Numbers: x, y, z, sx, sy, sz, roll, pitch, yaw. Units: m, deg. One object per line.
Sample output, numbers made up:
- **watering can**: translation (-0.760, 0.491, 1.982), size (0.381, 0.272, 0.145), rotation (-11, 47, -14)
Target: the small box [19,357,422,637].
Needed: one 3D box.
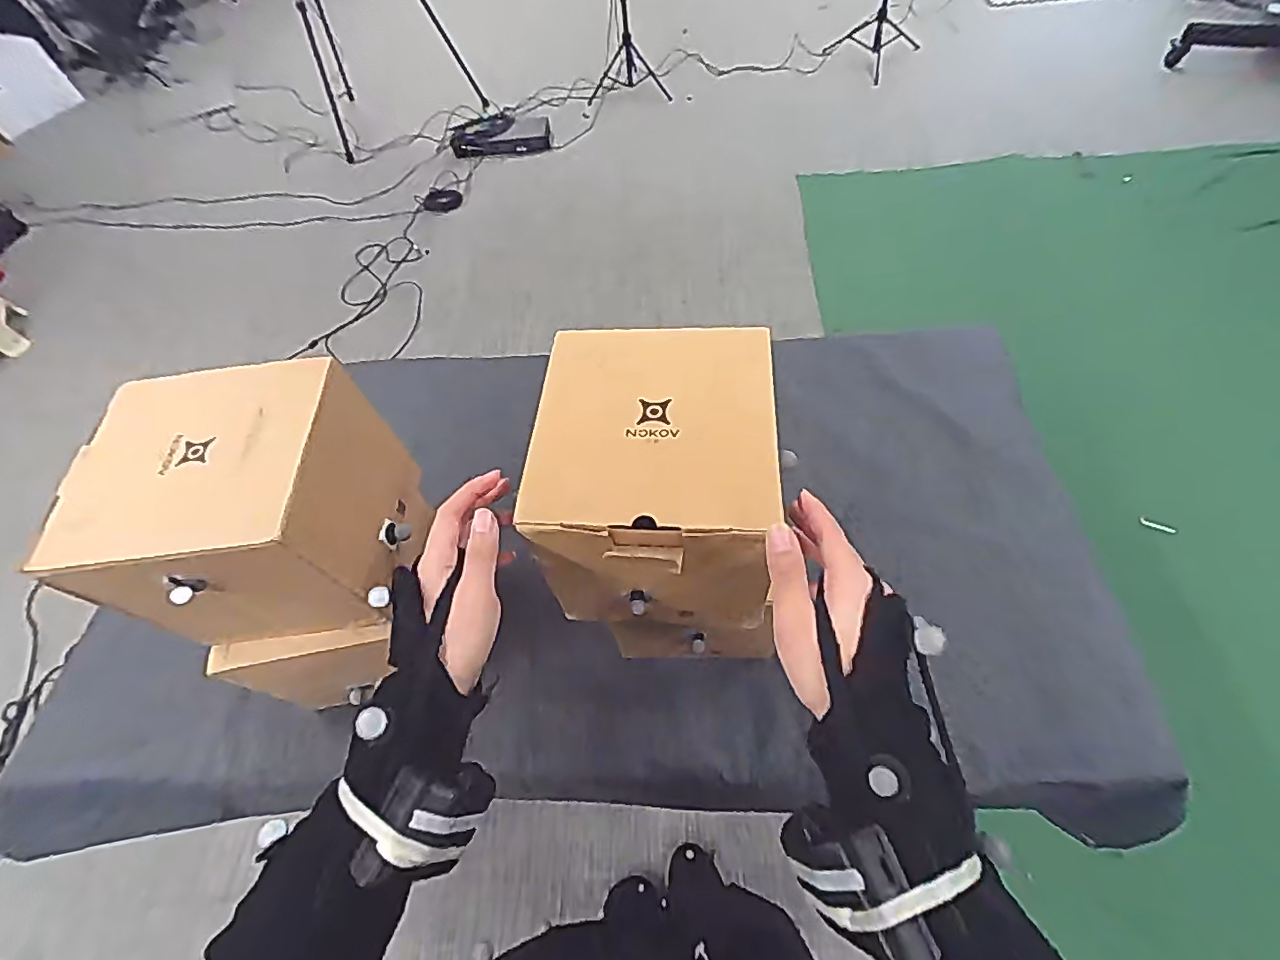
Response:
- **small box**: translation (-0.311, 0.023, 0.453), size (0.179, 0.176, 0.168), rotation (-6, 58, 1)

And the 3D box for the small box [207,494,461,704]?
- **small box**: translation (-0.303, 0.123, 0.582), size (0.168, 0.176, 0.179), rotation (-11, 57, -2)

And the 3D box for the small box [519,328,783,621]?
- **small box**: translation (0.016, 0.000, 0.439), size (0.168, 0.176, 0.179), rotation (1, 58, 6)

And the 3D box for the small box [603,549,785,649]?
- **small box**: translation (0.054, 0.077, 0.580), size (0.168, 0.176, 0.179), rotation (-2, 58, 4)
